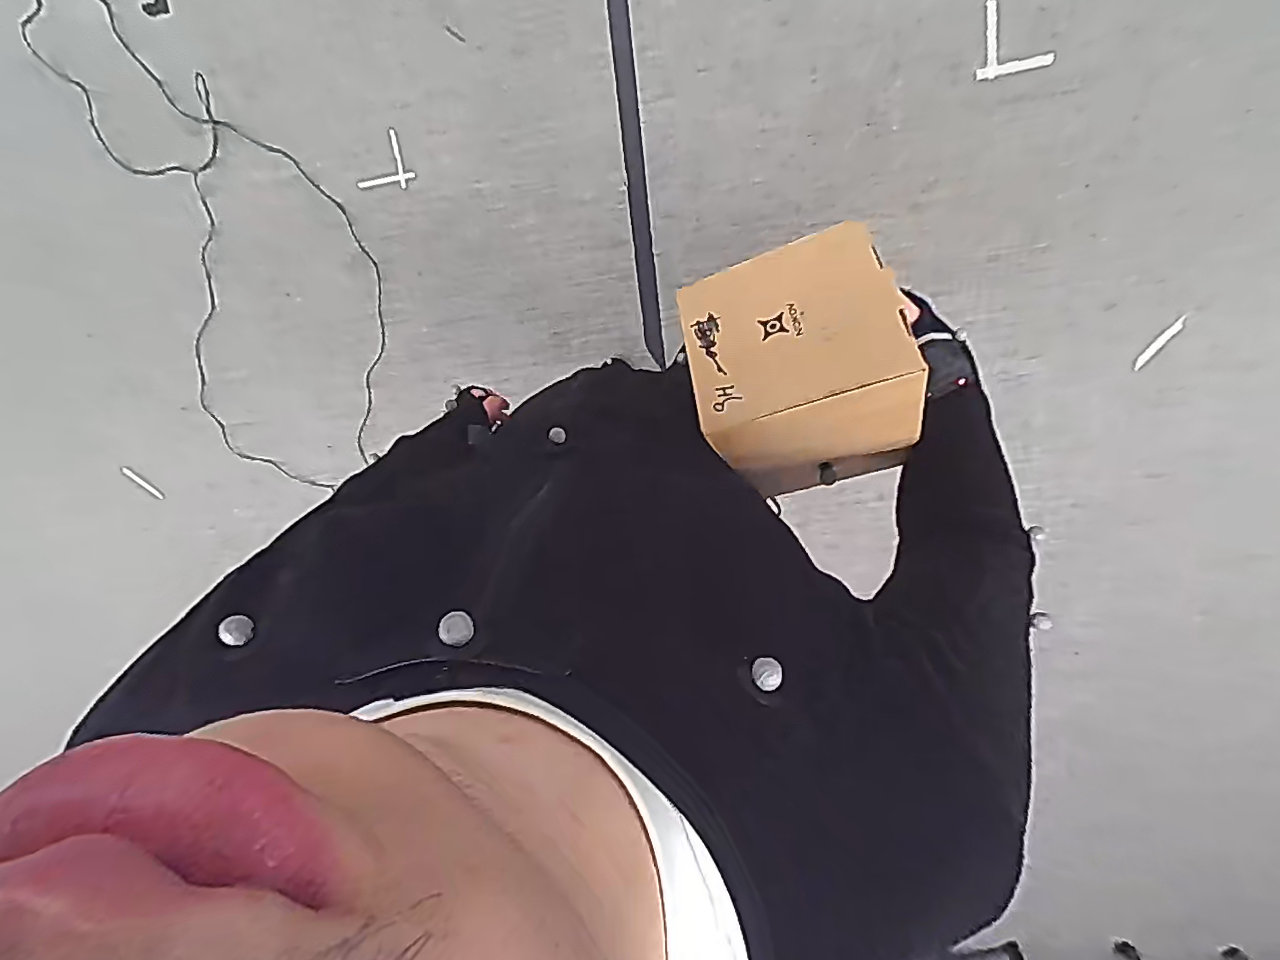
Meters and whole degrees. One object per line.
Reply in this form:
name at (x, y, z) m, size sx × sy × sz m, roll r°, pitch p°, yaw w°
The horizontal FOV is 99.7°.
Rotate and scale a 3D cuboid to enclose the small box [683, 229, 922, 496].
small box at (0.158, -0.102, 0.541) m, size 0.179 × 0.176 × 0.168 m, roll -16°, pitch 61°, yaw 17°
